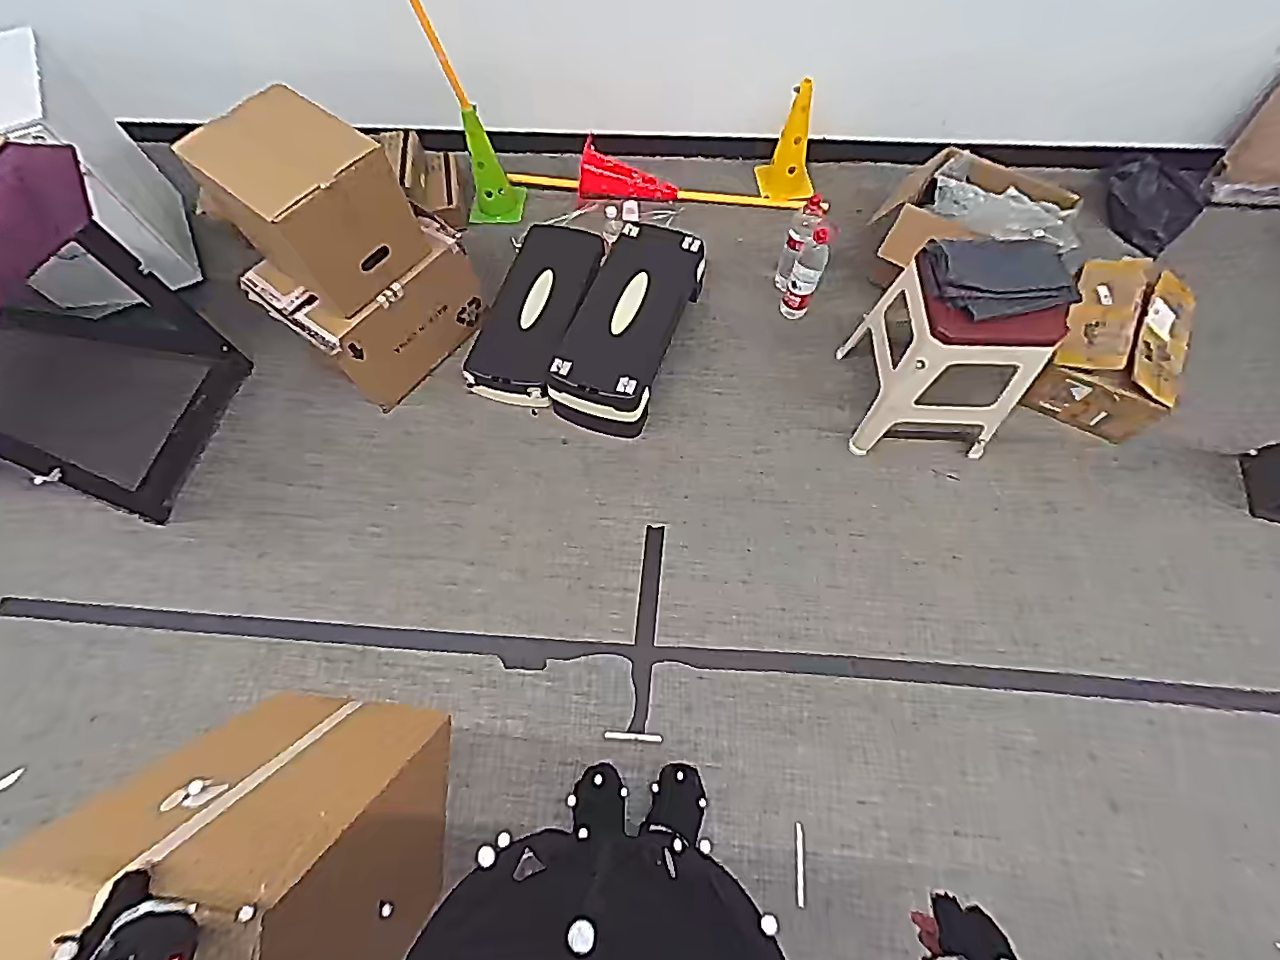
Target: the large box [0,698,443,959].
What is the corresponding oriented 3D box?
[{"bbox_3d":[-0.505,0.548,0.732,0.320,0.408,0.320,4,94,5],"label":"large box"}]
